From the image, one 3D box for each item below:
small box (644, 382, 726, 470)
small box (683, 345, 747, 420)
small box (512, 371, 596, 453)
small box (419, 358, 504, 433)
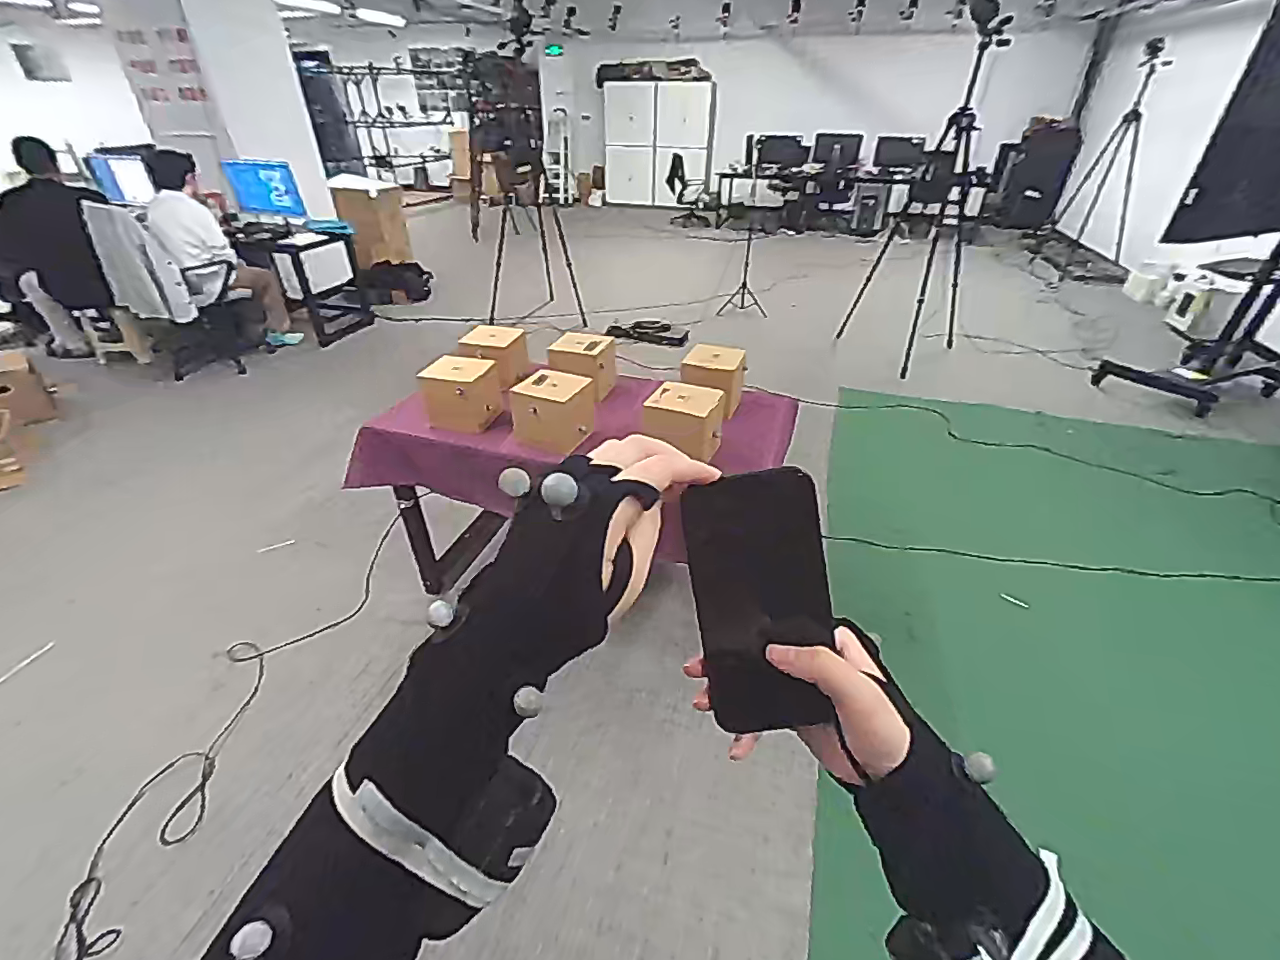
[{"bbox_3d":[0.122,-0.147,1.480,0.179,0.176,0.168,15,37,20],"label":"small box"},{"bbox_3d":[0.235,-0.313,1.721,0.168,0.176,0.179,12,37,18],"label":"small box"},{"bbox_3d":[-0.240,-0.194,1.548,0.179,0.176,0.168,15,37,19],"label":"small box"},{"bbox_3d":[-0.533,-0.257,1.639,0.179,0.176,0.168,8,35,9],"label":"small box"}]
